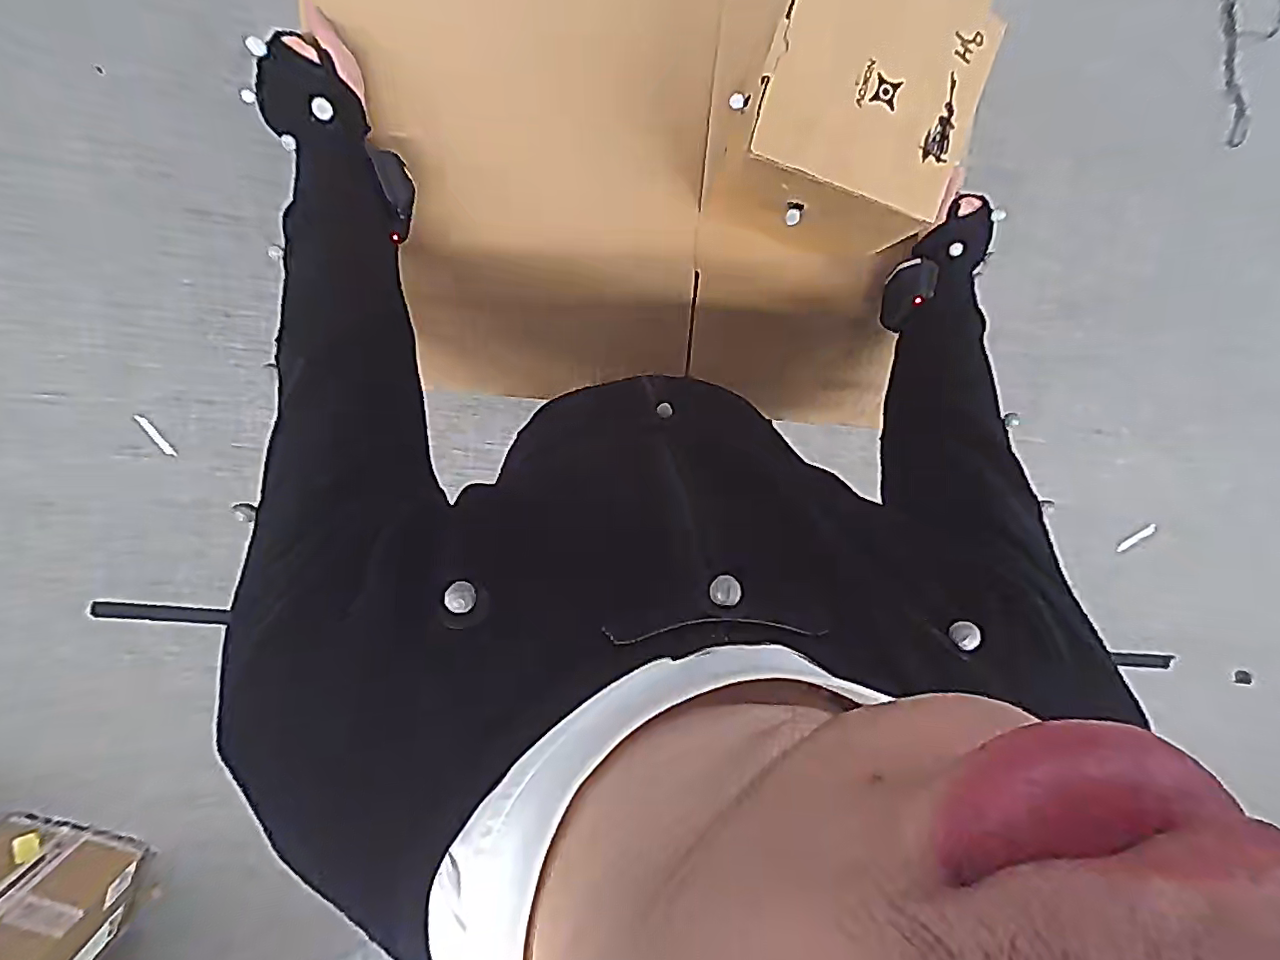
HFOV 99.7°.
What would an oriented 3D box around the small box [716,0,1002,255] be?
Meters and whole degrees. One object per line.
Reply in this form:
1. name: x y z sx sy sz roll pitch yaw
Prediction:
1. small box: 0.189 -0.340 0.525 0.179 0.176 0.168 16 98 -6
